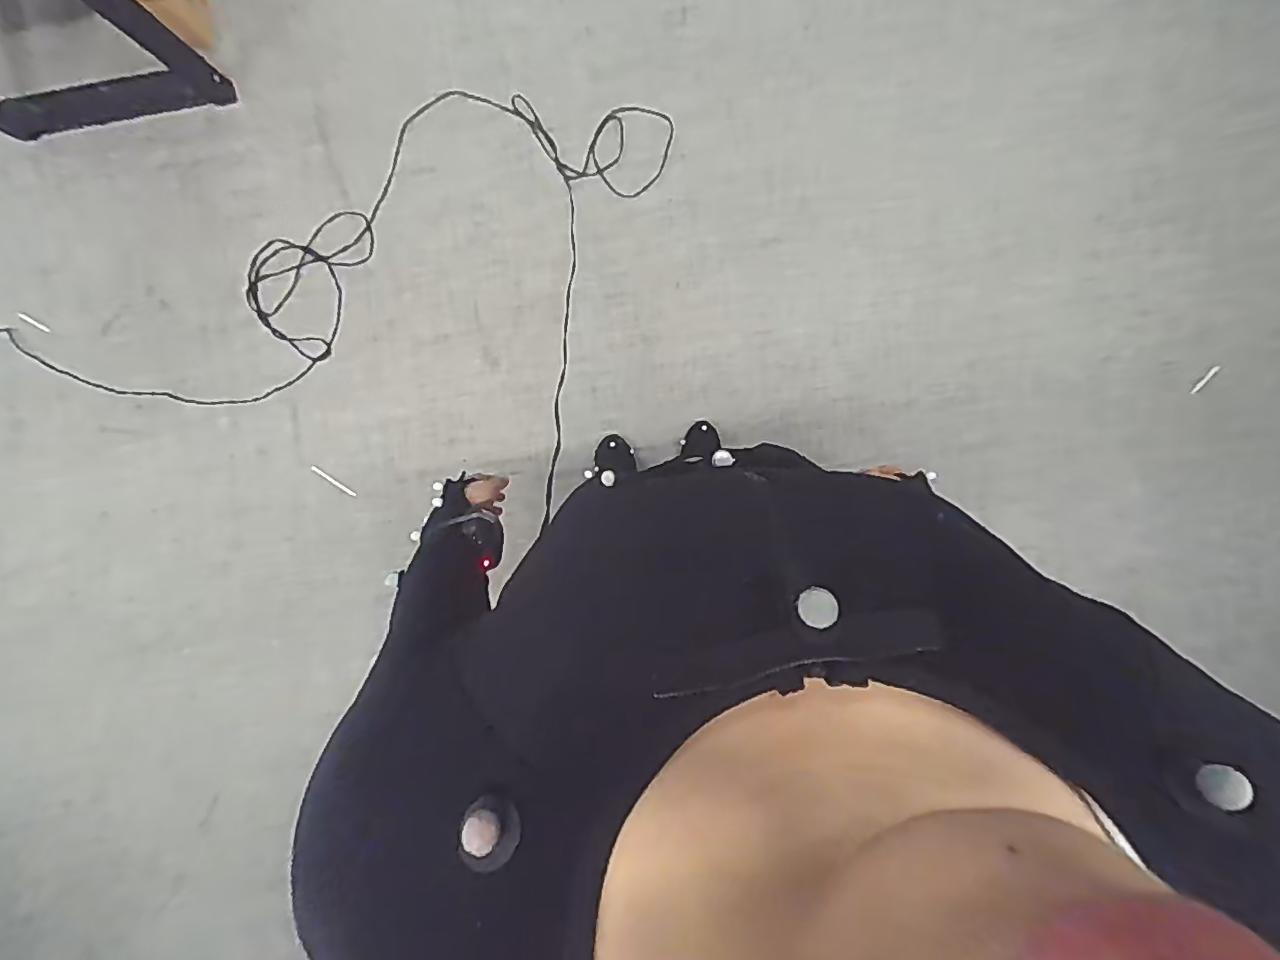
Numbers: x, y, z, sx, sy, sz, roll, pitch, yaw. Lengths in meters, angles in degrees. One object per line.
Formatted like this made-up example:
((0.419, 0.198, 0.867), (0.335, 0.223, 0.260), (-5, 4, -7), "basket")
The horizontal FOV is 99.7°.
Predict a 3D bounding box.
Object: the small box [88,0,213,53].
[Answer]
((-1.165, -1.164, 1.289), (0.179, 0.176, 0.168), (-5, 96, 0), "small box")
